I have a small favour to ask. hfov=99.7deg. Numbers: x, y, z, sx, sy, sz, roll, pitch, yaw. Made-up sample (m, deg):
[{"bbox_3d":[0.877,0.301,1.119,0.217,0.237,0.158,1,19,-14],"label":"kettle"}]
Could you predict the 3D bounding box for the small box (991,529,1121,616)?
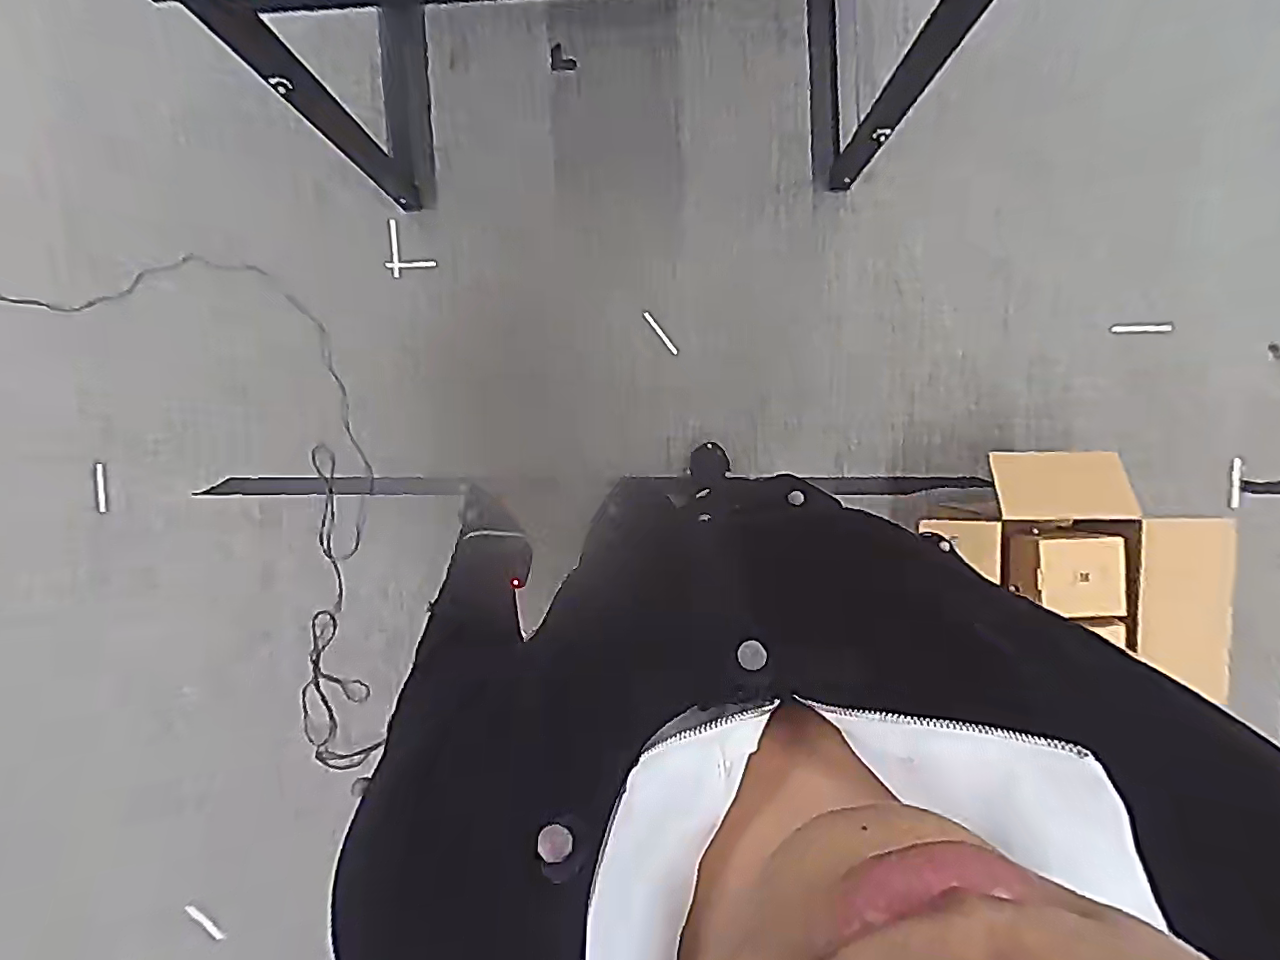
[{"bbox_3d":[0.922,0.202,1.217,0.179,0.176,0.168,-4,91,0],"label":"small box"}]
